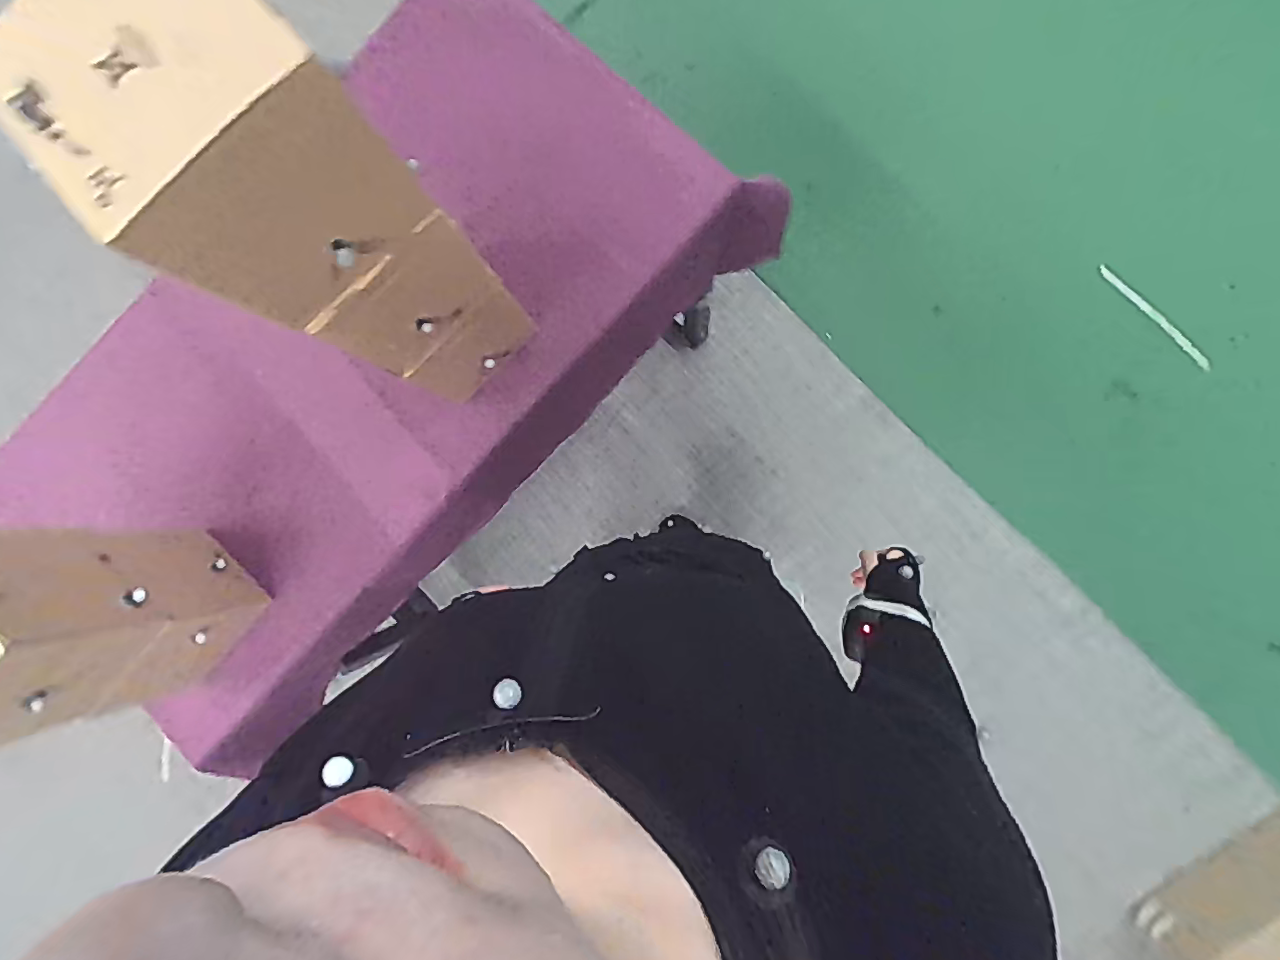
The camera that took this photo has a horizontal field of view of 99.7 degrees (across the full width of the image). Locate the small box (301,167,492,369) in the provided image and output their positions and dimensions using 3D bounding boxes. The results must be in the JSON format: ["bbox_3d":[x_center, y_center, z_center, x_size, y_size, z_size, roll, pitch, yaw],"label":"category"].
[{"bbox_3d":[-0.293,-0.244,0.574,0.168,0.176,0.179,-44,86,2],"label":"small box"}]

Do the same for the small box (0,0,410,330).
[{"bbox_3d":[-0.306,-0.249,0.410,0.179,0.176,0.168,-42,85,1],"label":"small box"}]

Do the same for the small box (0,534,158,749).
[{"bbox_3d":[-0.690,0.174,0.588,0.168,0.176,0.179,41,91,5],"label":"small box"}]

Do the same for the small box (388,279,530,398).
[{"bbox_3d":[-0.281,-0.235,0.737,0.168,0.176,0.179,-44,85,2],"label":"small box"}]
